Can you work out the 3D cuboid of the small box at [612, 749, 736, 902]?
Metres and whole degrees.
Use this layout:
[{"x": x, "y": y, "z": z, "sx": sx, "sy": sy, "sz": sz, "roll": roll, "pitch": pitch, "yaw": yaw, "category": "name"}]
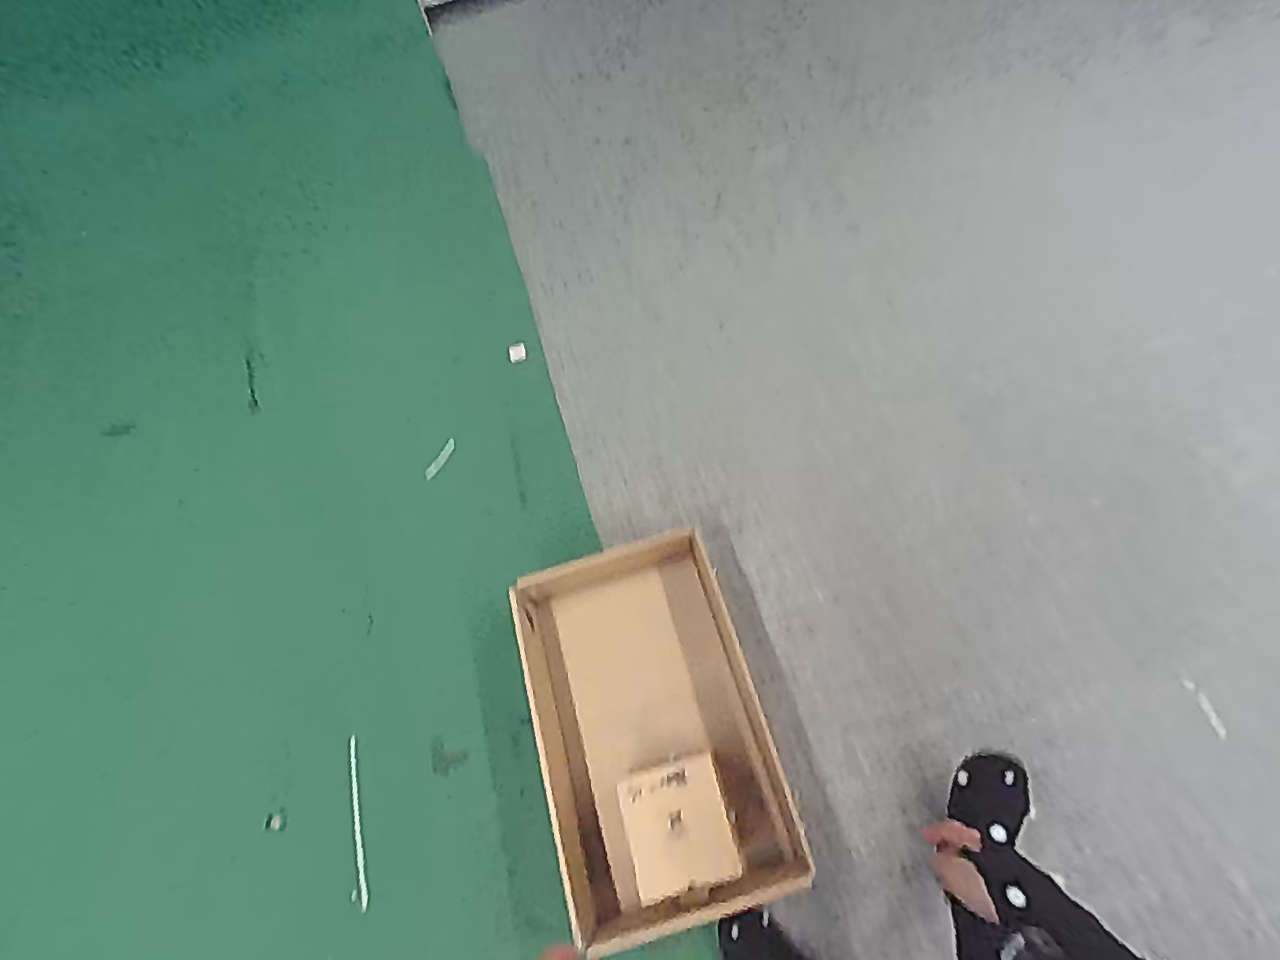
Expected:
[{"x": 0.059, "y": 0.582, "z": 0.935, "sx": 0.168, "sy": 0.176, "sz": 0.179, "roll": -15, "pitch": 66, "yaw": -1, "category": "small box"}]
